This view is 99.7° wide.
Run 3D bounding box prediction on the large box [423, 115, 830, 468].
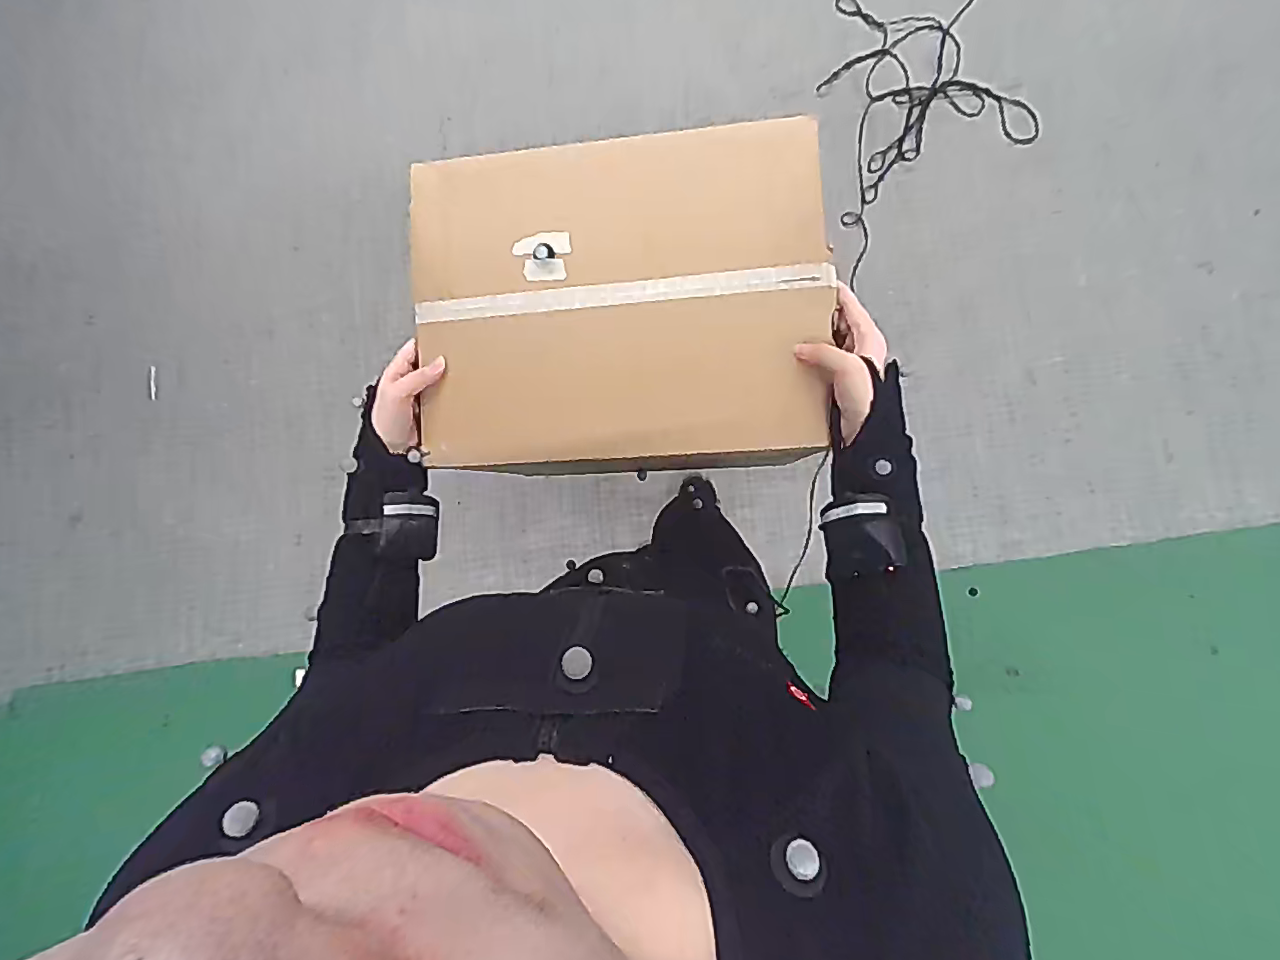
[{"bbox_3d":[-0.002,-0.183,0.687,0.408,0.320,0.320,-3,88,8],"label":"large box"}]
